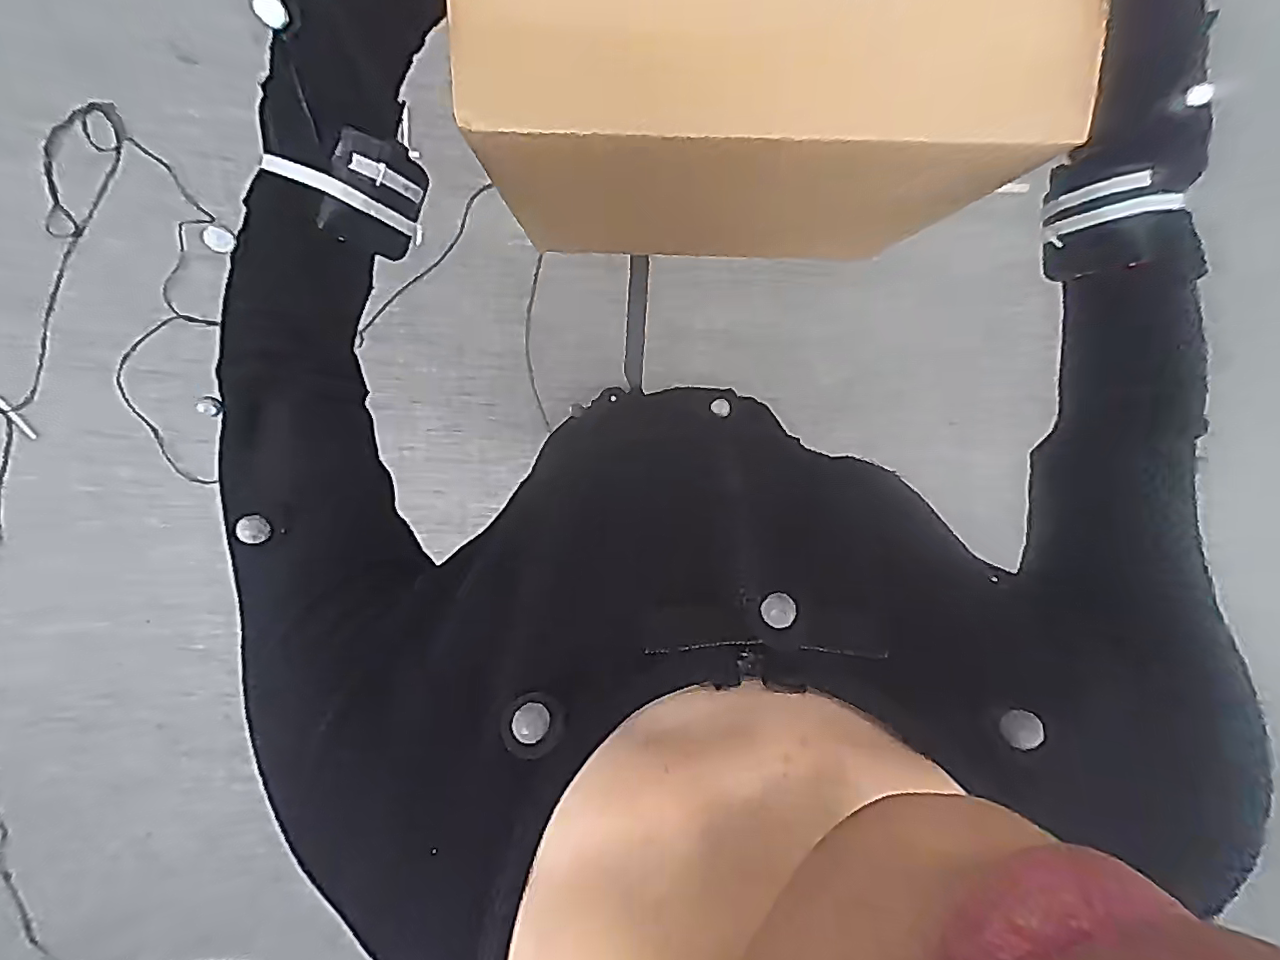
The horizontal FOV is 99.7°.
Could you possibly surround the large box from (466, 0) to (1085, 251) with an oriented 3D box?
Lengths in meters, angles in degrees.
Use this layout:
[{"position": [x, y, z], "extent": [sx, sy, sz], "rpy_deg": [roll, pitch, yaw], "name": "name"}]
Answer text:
[{"position": [0.081, -0.404, 0.477], "extent": [0.408, 0.320, 0.320], "rpy_deg": [0, 100, -2], "name": "large box"}]
